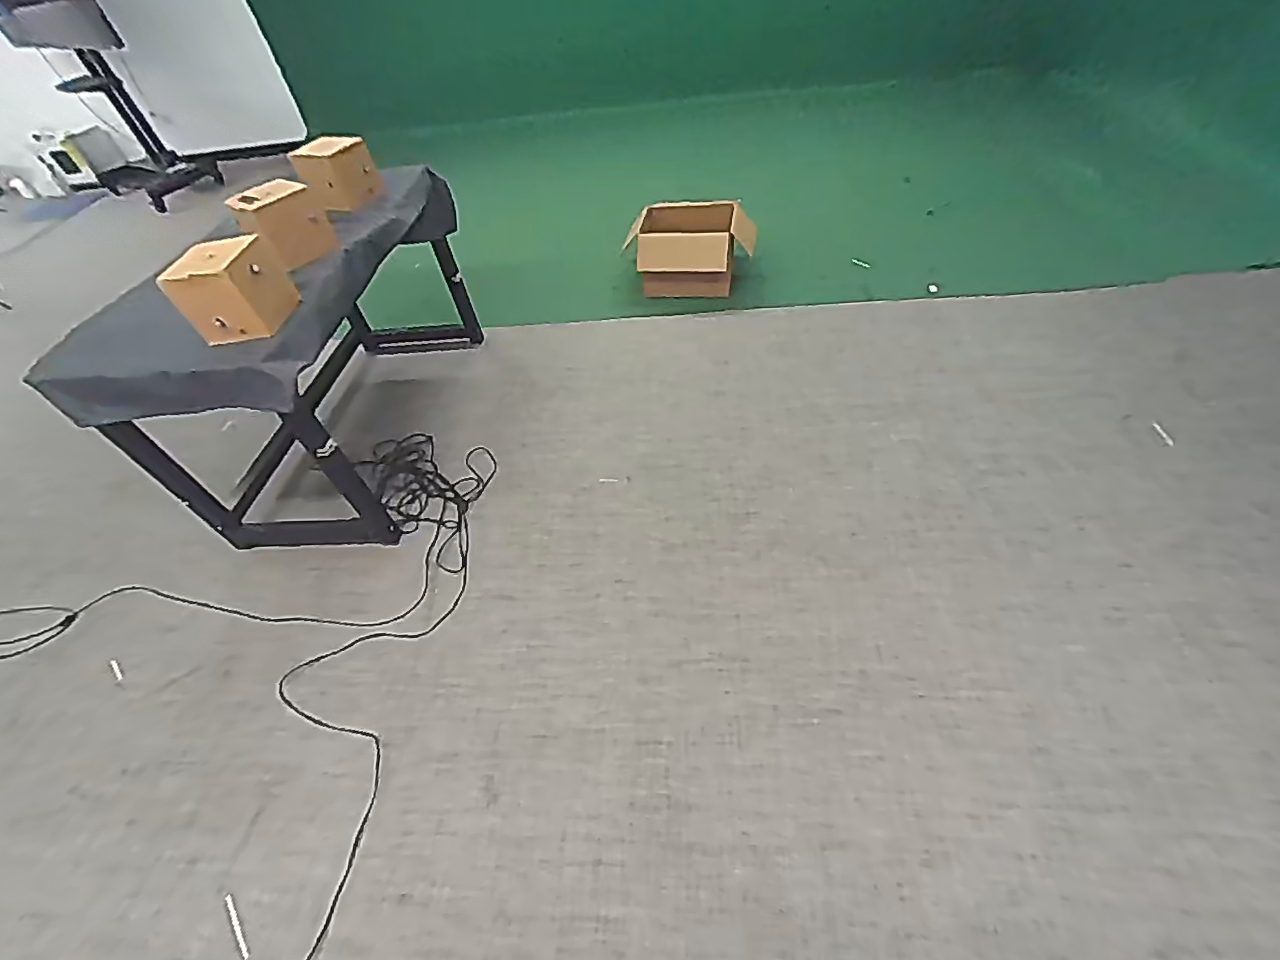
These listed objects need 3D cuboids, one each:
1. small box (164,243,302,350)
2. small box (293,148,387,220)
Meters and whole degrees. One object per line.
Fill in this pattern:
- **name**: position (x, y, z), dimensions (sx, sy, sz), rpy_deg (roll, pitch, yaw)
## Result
- **small box**: position (-0.944, -0.432, 1.279), dimensions (0.168, 0.176, 0.179), rpy_deg (-7, 48, 6)
- **small box**: position (-0.982, -0.977, 1.788), dimensions (0.179, 0.176, 0.168), rpy_deg (11, 50, 20)
